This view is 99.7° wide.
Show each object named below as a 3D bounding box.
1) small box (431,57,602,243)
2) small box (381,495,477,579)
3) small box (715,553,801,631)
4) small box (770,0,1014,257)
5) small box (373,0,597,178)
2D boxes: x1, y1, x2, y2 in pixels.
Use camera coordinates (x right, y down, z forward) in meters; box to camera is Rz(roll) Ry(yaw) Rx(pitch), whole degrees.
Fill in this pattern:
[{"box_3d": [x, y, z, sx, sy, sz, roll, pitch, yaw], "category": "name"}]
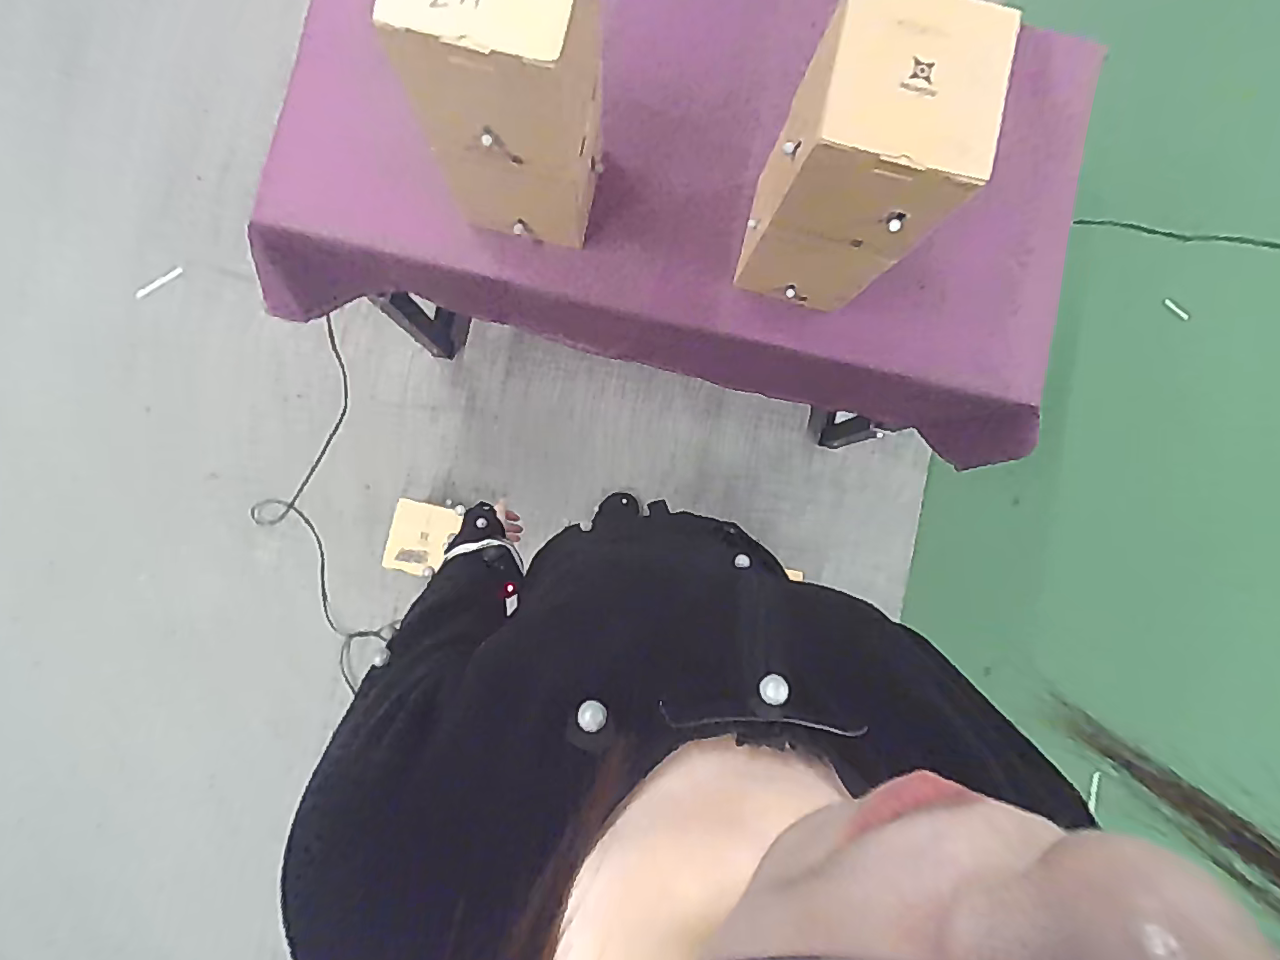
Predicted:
[{"box_3d": [-0.153, -0.445, 0.724, 0.179, 0.176, 0.168, 11, 86, -4], "category": "small box"}, {"box_3d": [-0.536, 0.144, 1.401, 0.168, 0.176, 0.179, 13, 86, -3], "category": "small box"}, {"box_3d": [0.308, 0.292, 1.449, 0.179, 0.176, 0.168, 11, 87, -4], "category": "small box"}, {"box_3d": [0.251, -0.370, 0.582, 0.168, 0.176, 0.179, 13, 86, -3], "category": "small box"}, {"box_3d": [-0.141, -0.459, 0.559, 0.168, 0.176, 0.179, 12, 86, -2], "category": "small box"}]
